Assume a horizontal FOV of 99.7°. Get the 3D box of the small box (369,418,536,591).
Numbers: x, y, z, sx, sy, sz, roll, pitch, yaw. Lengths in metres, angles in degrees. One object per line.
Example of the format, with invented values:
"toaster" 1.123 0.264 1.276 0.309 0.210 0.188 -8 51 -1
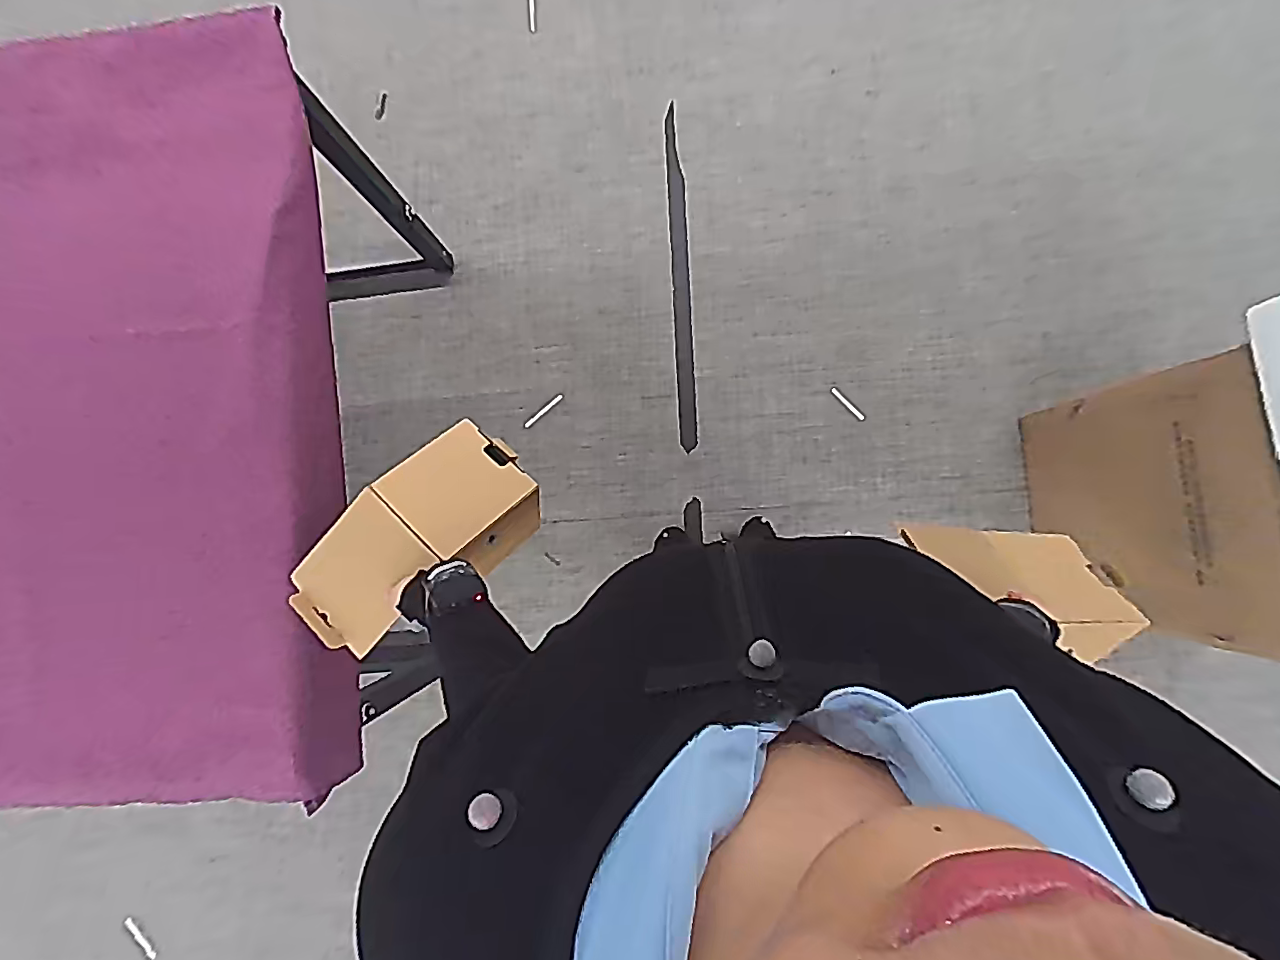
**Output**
"small box" -0.275 0.045 0.841 0.168 0.176 0.179 42 64 12
